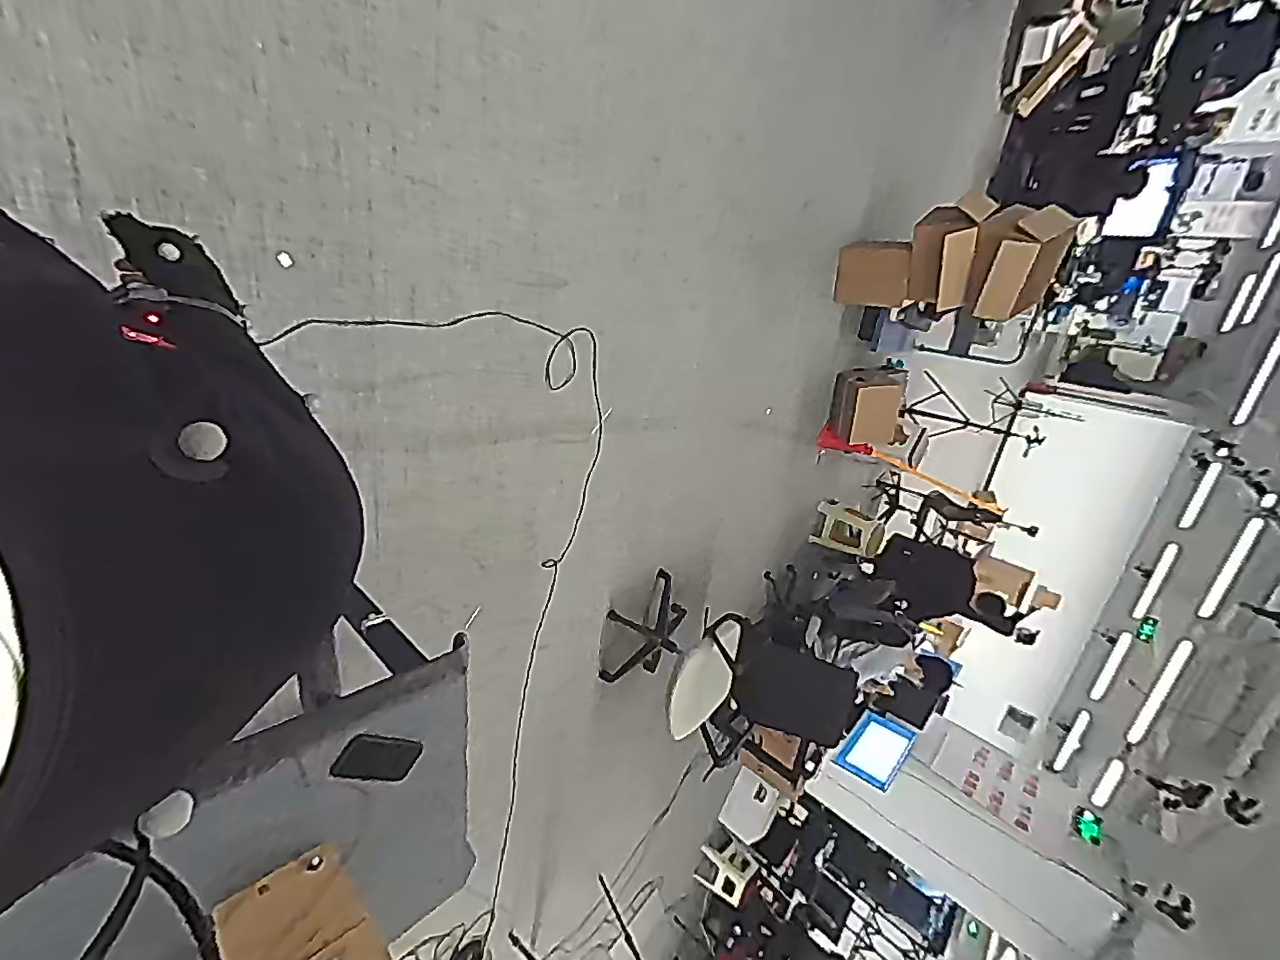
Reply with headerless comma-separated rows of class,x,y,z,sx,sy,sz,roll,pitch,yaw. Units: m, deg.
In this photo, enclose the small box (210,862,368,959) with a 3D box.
small box,-0.542,0.745,0.839,0.168,0.176,0.179,-13,119,-47
